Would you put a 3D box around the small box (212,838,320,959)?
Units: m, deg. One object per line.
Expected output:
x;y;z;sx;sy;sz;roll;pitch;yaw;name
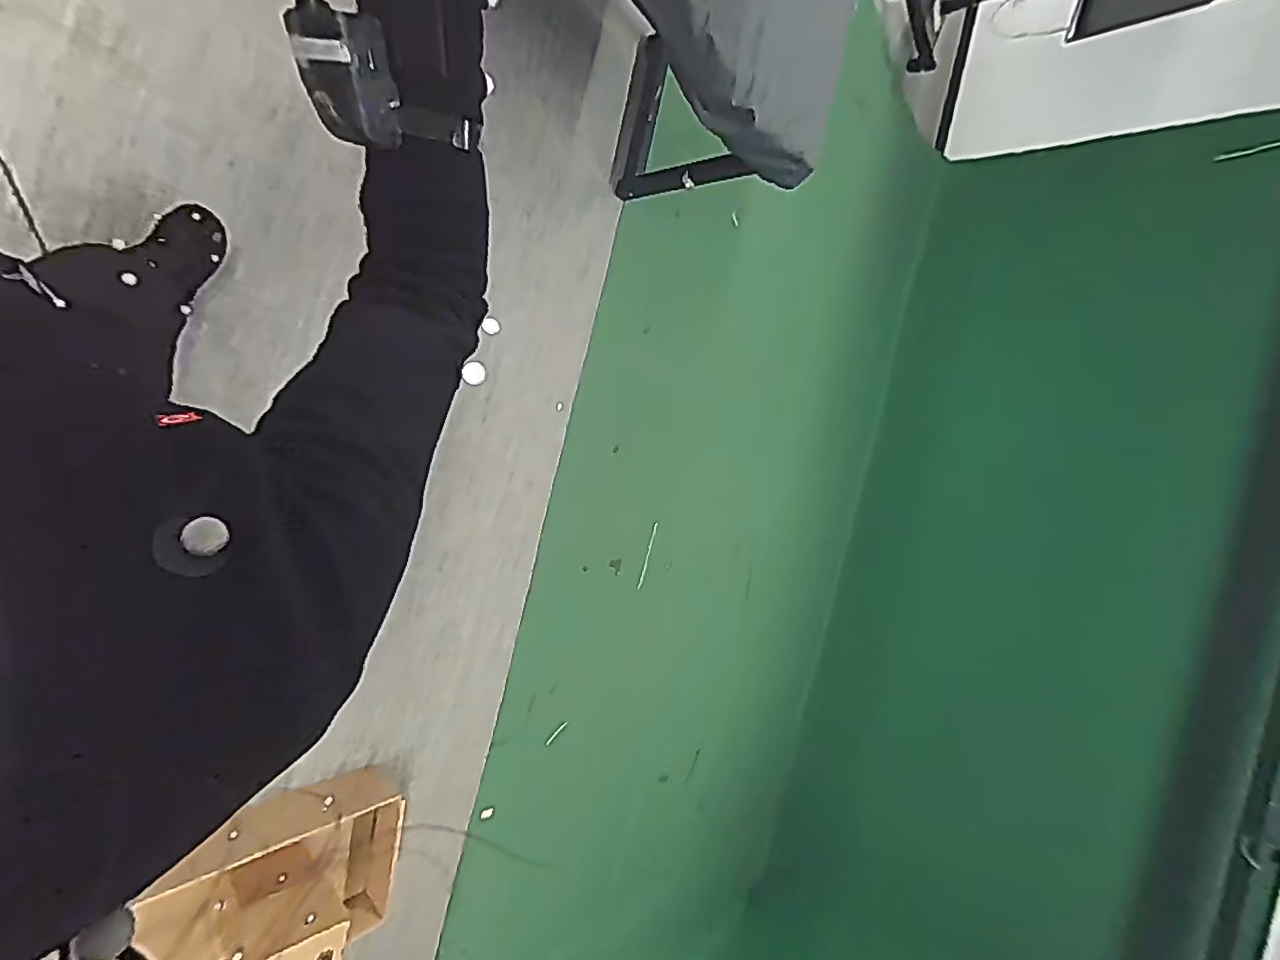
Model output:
-0.937;1.049;1.354;0.179;0.176;0.168;5;96;-49;small box

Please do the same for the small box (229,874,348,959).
-0.811;1.067;1.248;0.179;0.176;0.168;10;93;-49;small box
